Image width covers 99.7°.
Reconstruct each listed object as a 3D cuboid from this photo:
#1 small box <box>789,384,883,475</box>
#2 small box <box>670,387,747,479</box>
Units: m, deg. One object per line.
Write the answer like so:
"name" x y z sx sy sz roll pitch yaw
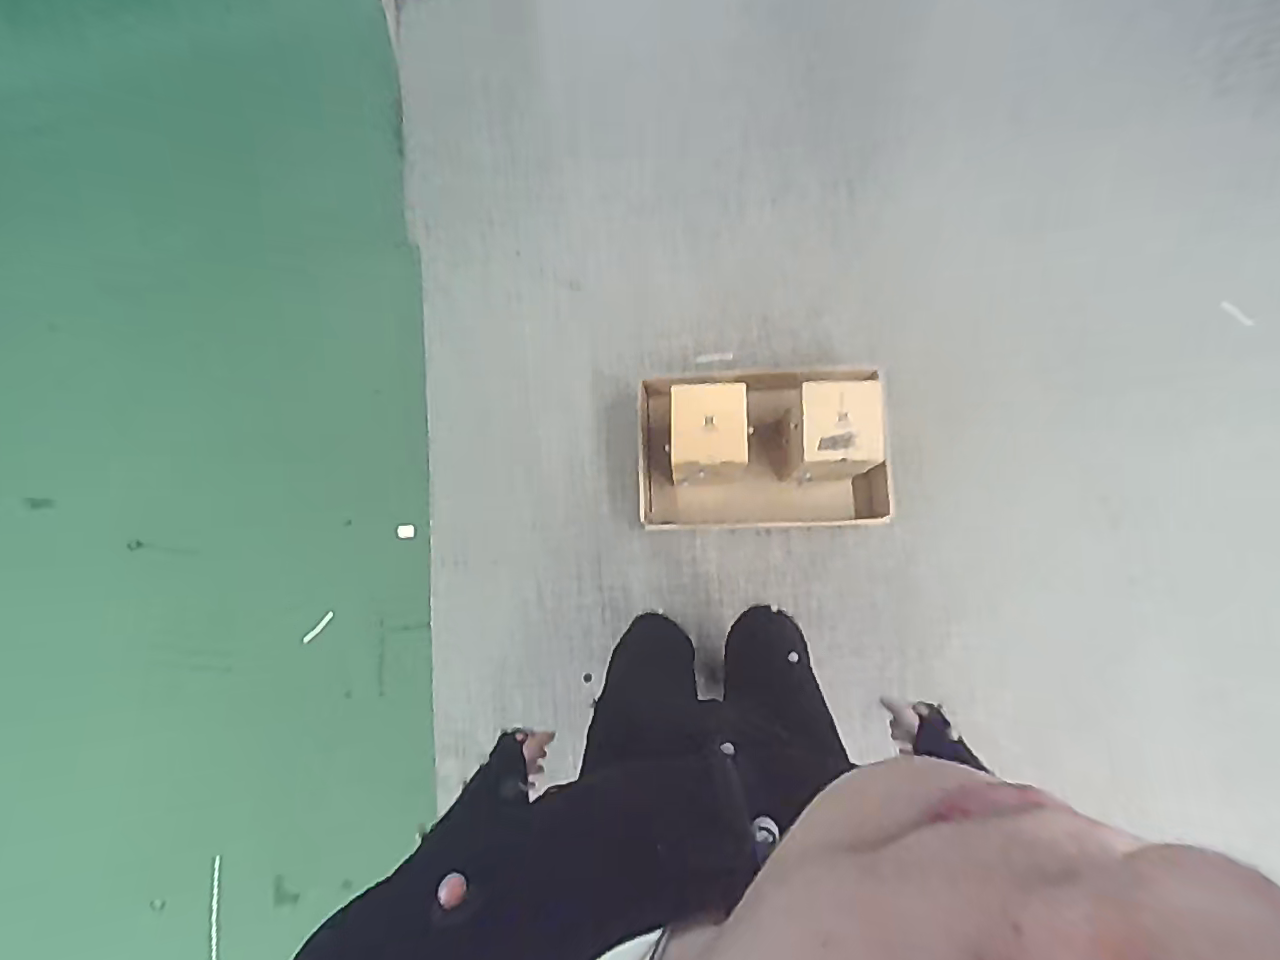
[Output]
"small box" 0.434 -0.106 1.219 0.168 0.176 0.179 0 81 6
"small box" 0.152 -0.103 1.244 0.168 0.176 0.179 -1 81 4
